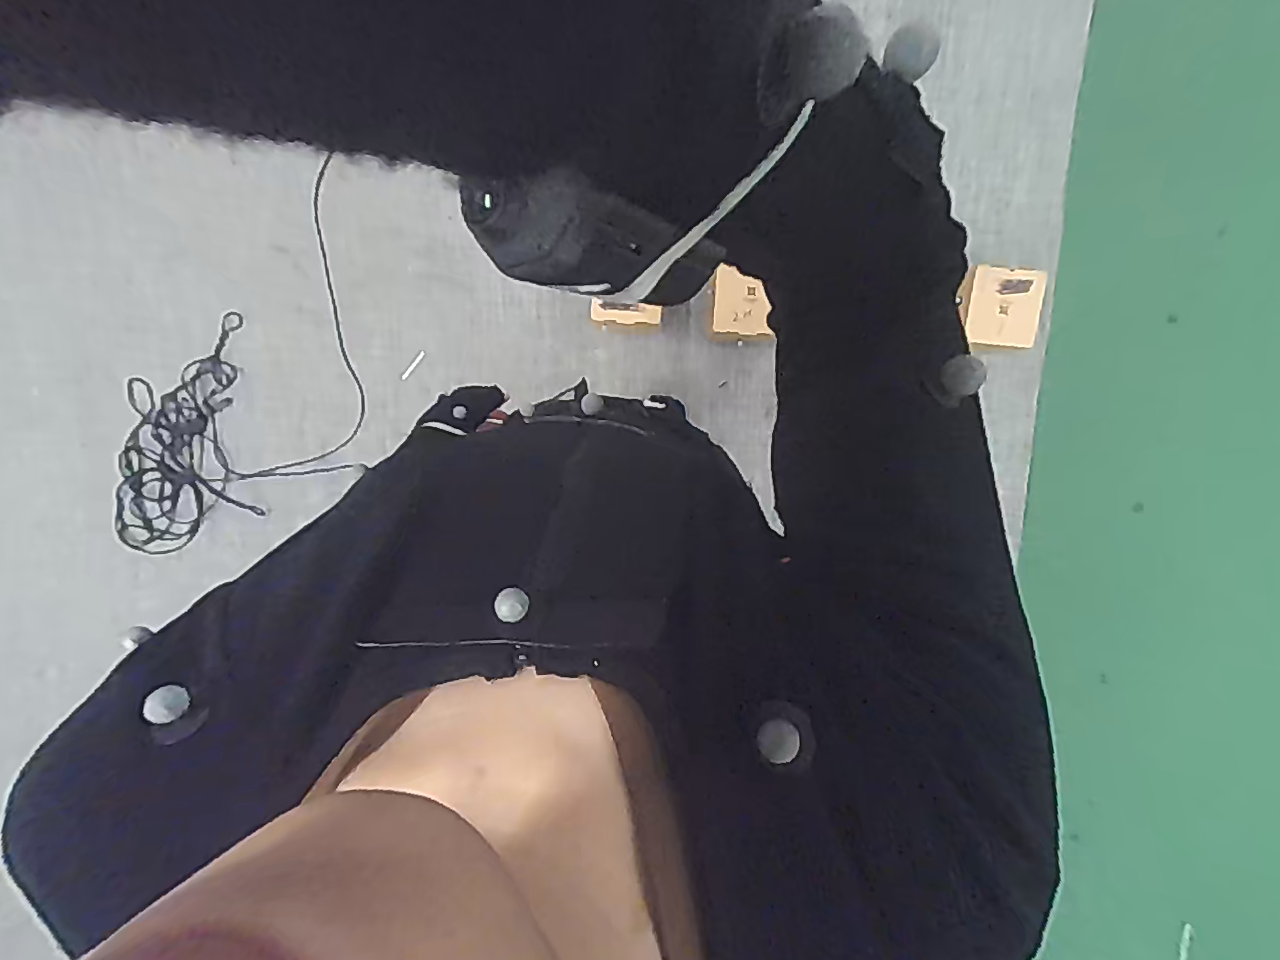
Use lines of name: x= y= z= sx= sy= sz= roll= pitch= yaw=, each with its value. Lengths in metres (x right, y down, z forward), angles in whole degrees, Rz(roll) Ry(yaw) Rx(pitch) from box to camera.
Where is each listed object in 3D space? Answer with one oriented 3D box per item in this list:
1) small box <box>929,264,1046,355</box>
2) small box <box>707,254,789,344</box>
small box: x=0.837 y=-0.408 z=1.320 sx=0.168 sy=0.176 sz=0.179 roll=6 pitch=99 yaw=0
small box: x=0.257 y=-0.436 z=1.324 sx=0.168 sy=0.176 sz=0.179 roll=3 pitch=98 yaw=1
